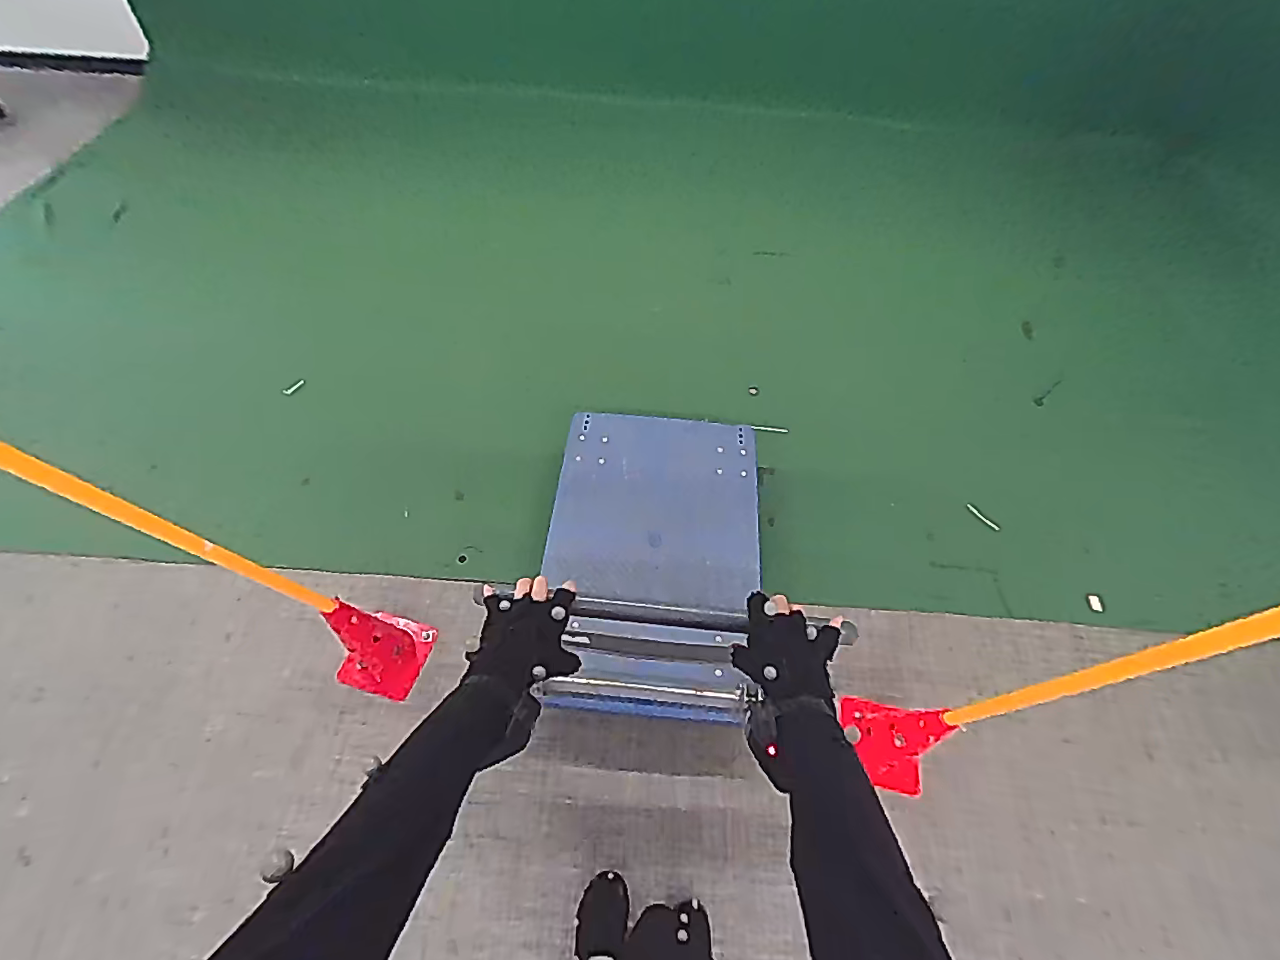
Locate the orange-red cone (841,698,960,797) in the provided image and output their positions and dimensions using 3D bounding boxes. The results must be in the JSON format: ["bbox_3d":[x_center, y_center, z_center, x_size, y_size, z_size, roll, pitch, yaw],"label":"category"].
[{"bbox_3d":[0.612,0.572,1.213,0.198,0.360,0.199,13,57,7],"label":"orange-red cone"}]
